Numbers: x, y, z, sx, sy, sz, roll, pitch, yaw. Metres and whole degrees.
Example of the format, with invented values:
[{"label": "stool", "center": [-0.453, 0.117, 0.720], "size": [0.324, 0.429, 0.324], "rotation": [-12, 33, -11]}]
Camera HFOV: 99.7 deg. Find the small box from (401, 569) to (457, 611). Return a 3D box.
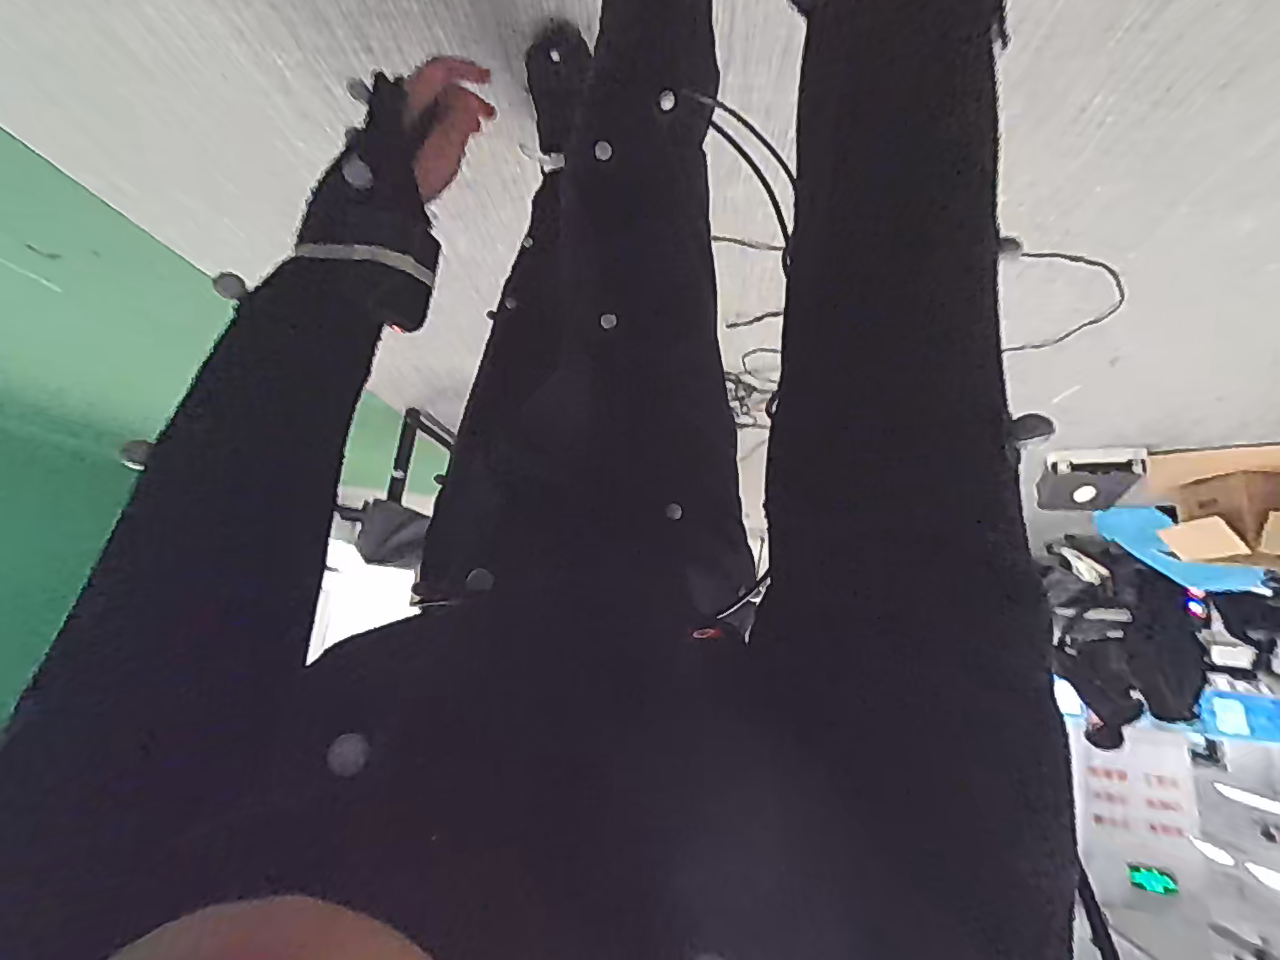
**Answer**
[{"label": "small box", "center": [-0.950, 0.495, 2.444], "size": [0.168, 0.176, 0.179], "rotation": [7, 168, 3]}]
